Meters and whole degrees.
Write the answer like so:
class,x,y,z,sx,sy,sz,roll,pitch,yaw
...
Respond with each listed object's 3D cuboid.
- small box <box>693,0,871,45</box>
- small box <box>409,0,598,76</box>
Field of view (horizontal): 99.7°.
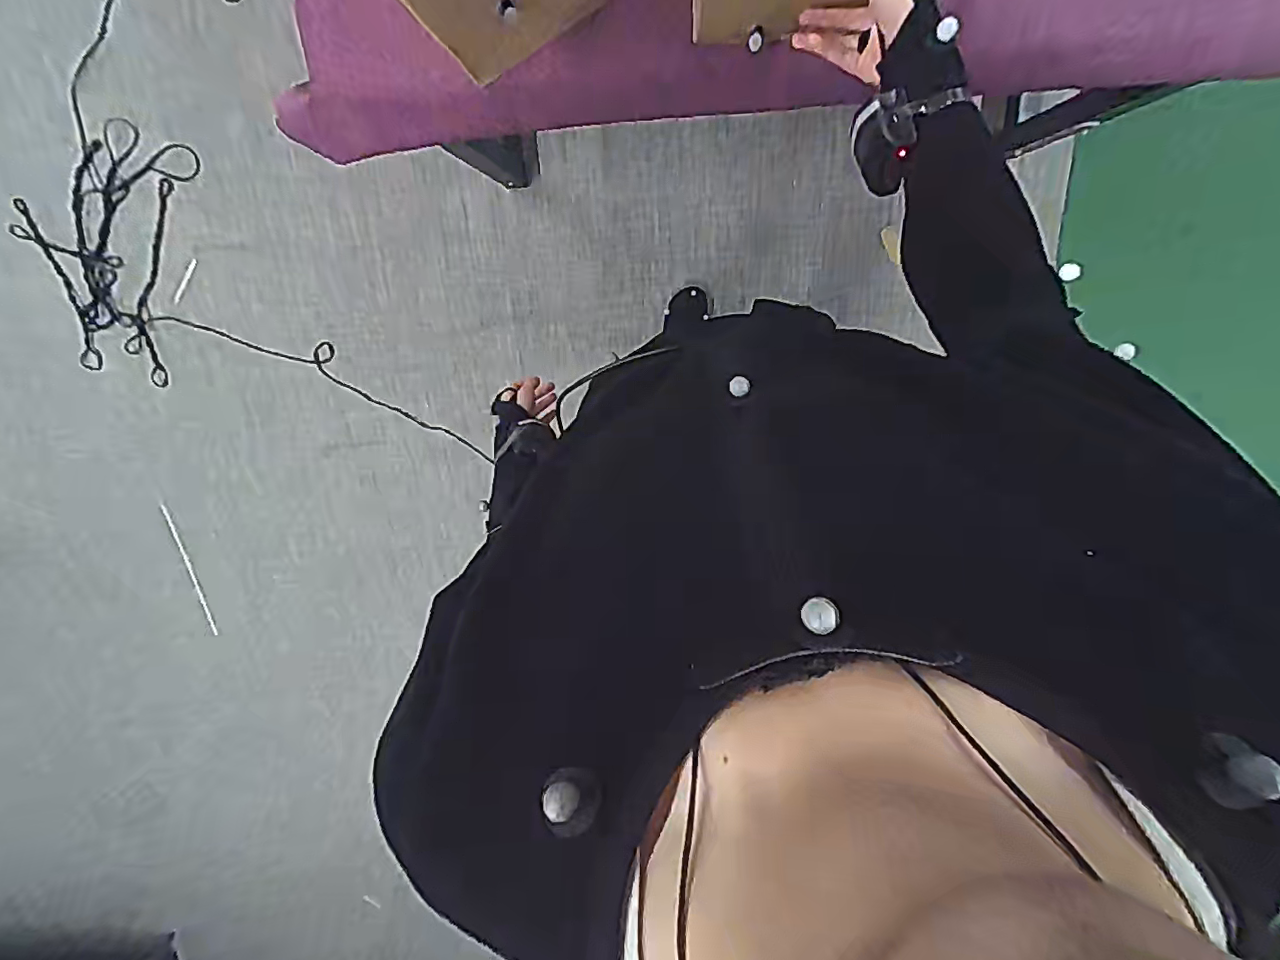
class,x,y,z,sx,sy,sz,roll,pitch,yaw
small box,0.133,-0.528,0.486,0.168,0.176,0.179,-1,115,4
small box,-0.148,-0.534,0.510,0.179,0.176,0.168,-26,105,12
